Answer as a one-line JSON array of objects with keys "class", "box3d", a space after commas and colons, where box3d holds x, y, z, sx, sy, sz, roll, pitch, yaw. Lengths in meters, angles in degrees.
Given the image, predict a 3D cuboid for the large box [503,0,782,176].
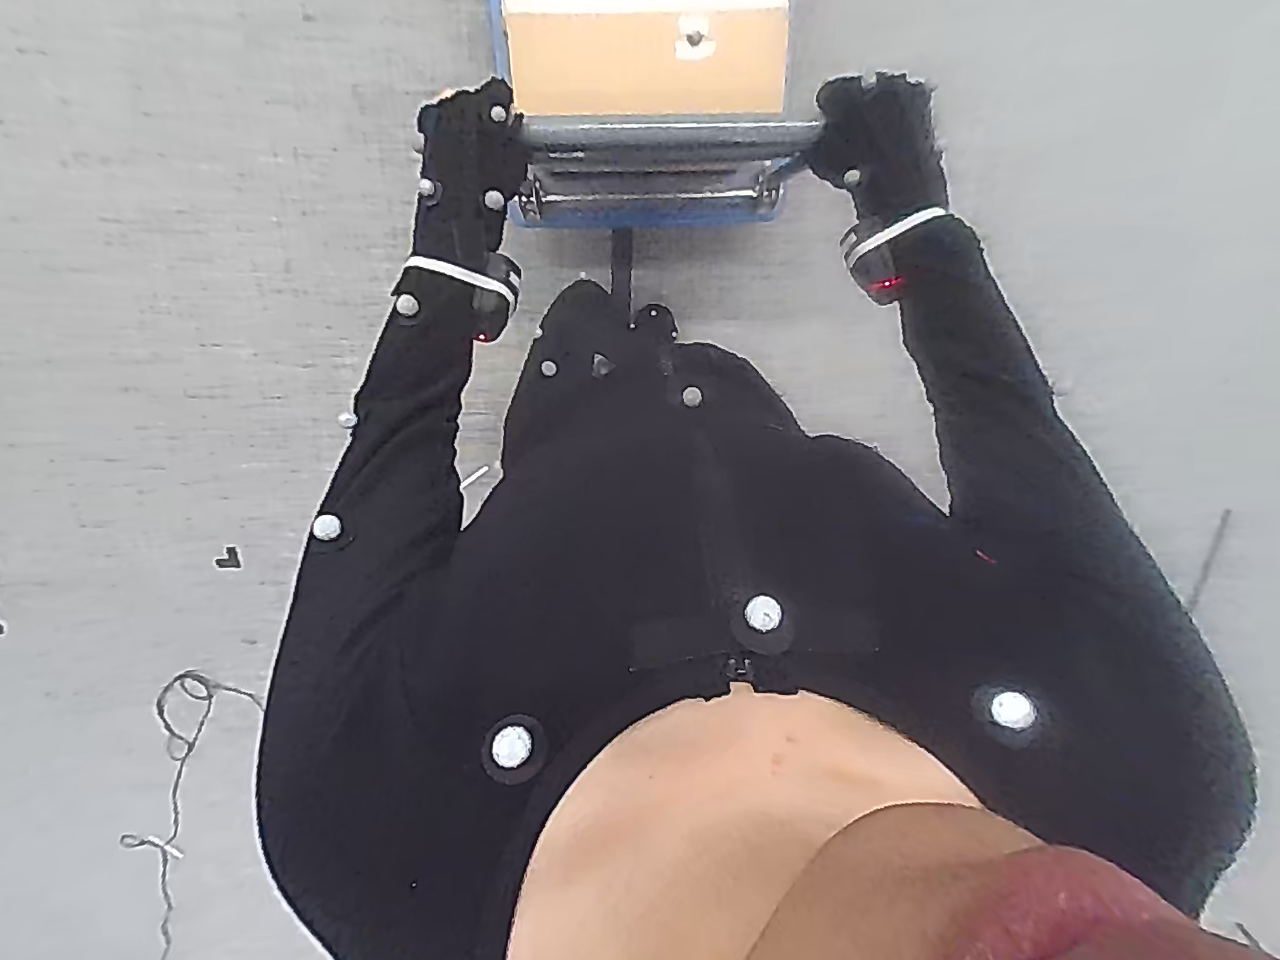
[{"class": "large box", "box3d": [-0.004, -0.718, 0.903, 0.408, 0.320, 0.320, -3, 110, -3]}]
